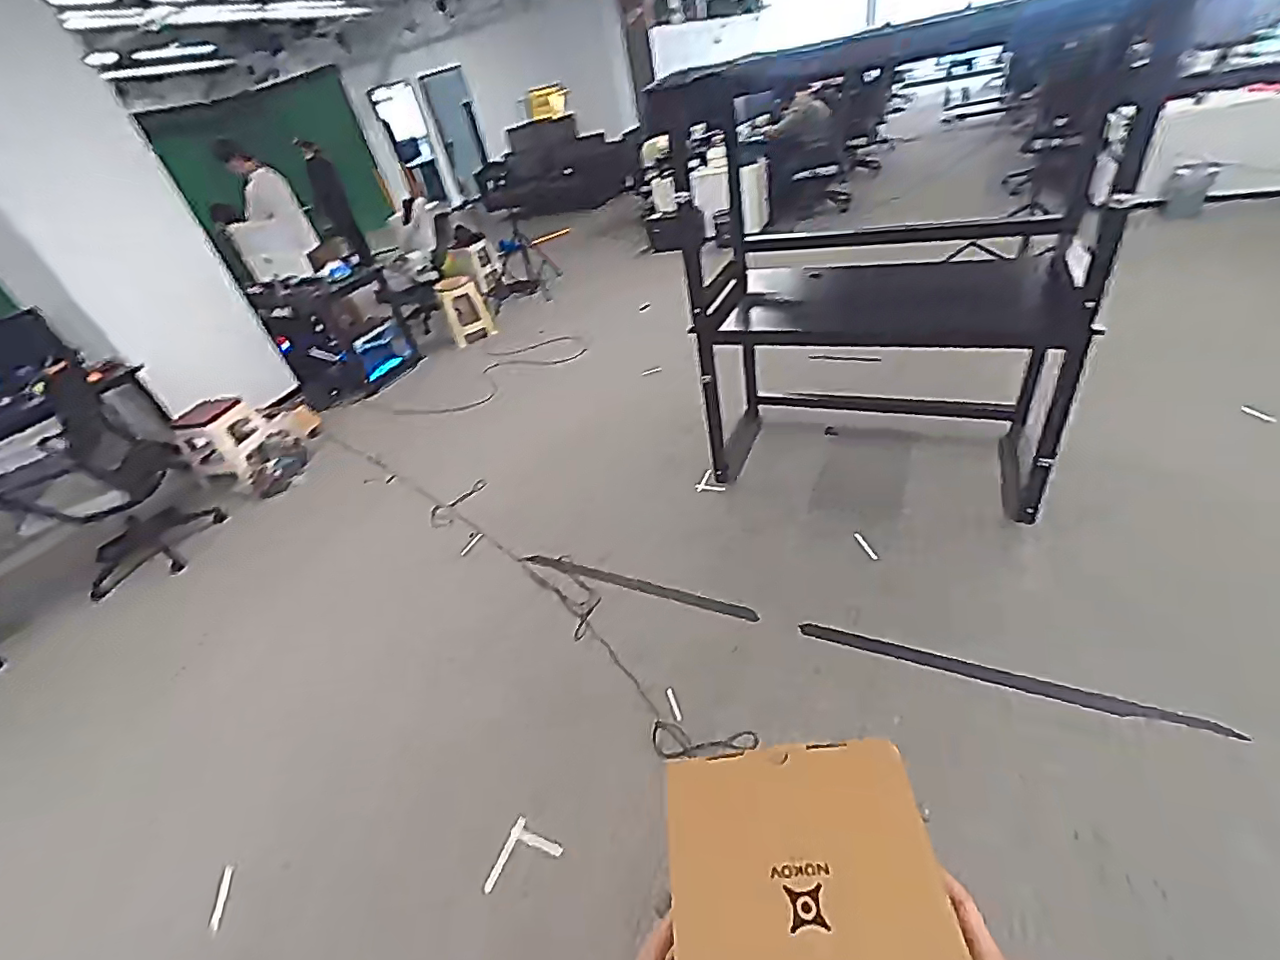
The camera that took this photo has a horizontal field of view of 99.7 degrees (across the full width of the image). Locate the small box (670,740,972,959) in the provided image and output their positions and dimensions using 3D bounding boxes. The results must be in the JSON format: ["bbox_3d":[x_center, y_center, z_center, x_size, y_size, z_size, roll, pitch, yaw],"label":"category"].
[{"bbox_3d":[0.117,0.310,0.377,0.168,0.176,0.179,-9,39,7],"label":"small box"}]
